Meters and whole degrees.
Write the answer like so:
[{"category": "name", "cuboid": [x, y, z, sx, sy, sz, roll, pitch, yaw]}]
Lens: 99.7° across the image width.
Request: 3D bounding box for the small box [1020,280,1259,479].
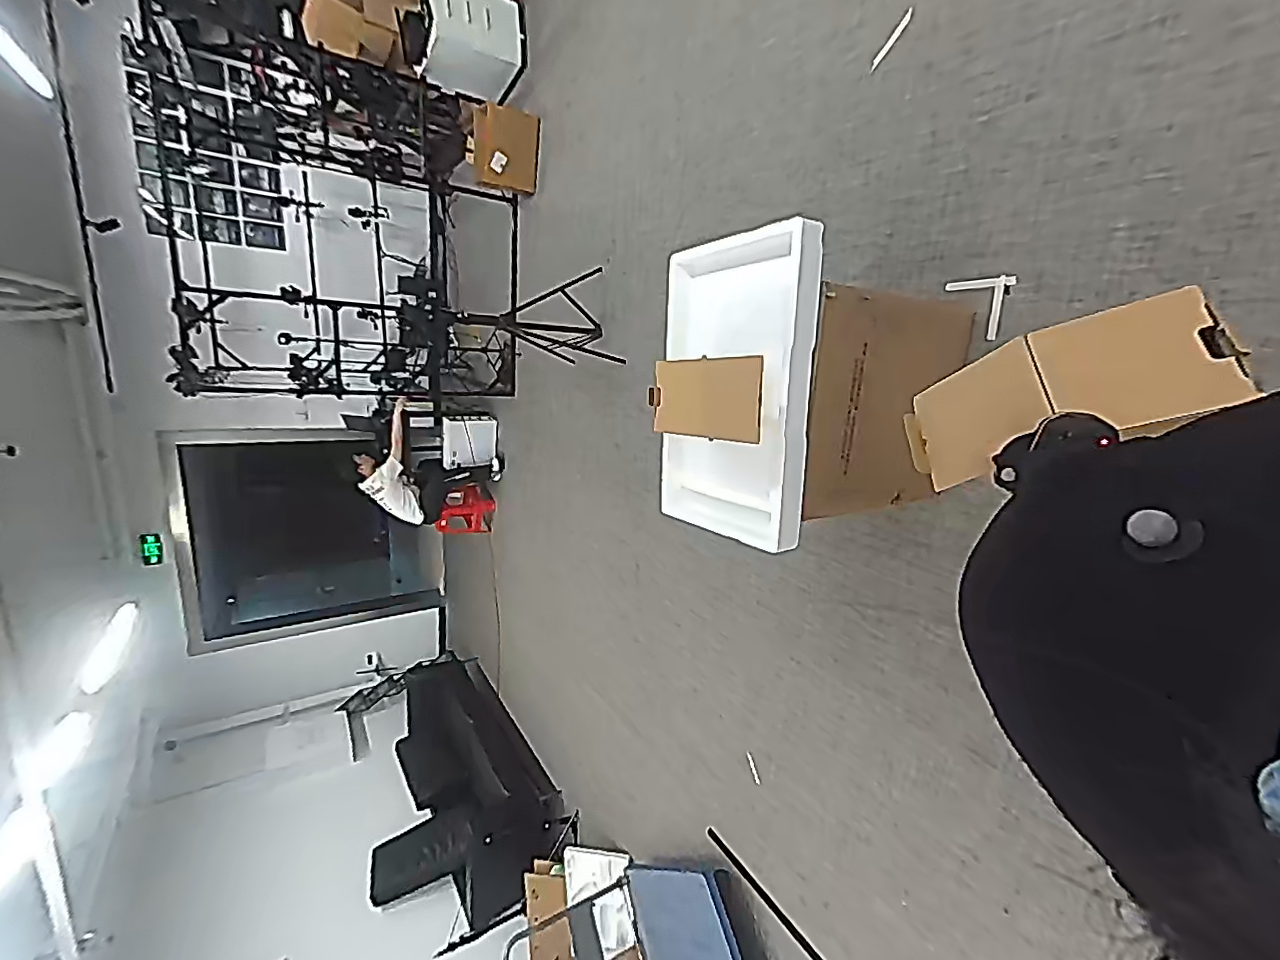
[{"category": "small box", "cuboid": [0.616, -0.114, 0.698, 0.179, 0.176, 0.168, -14, 64, 28]}]
